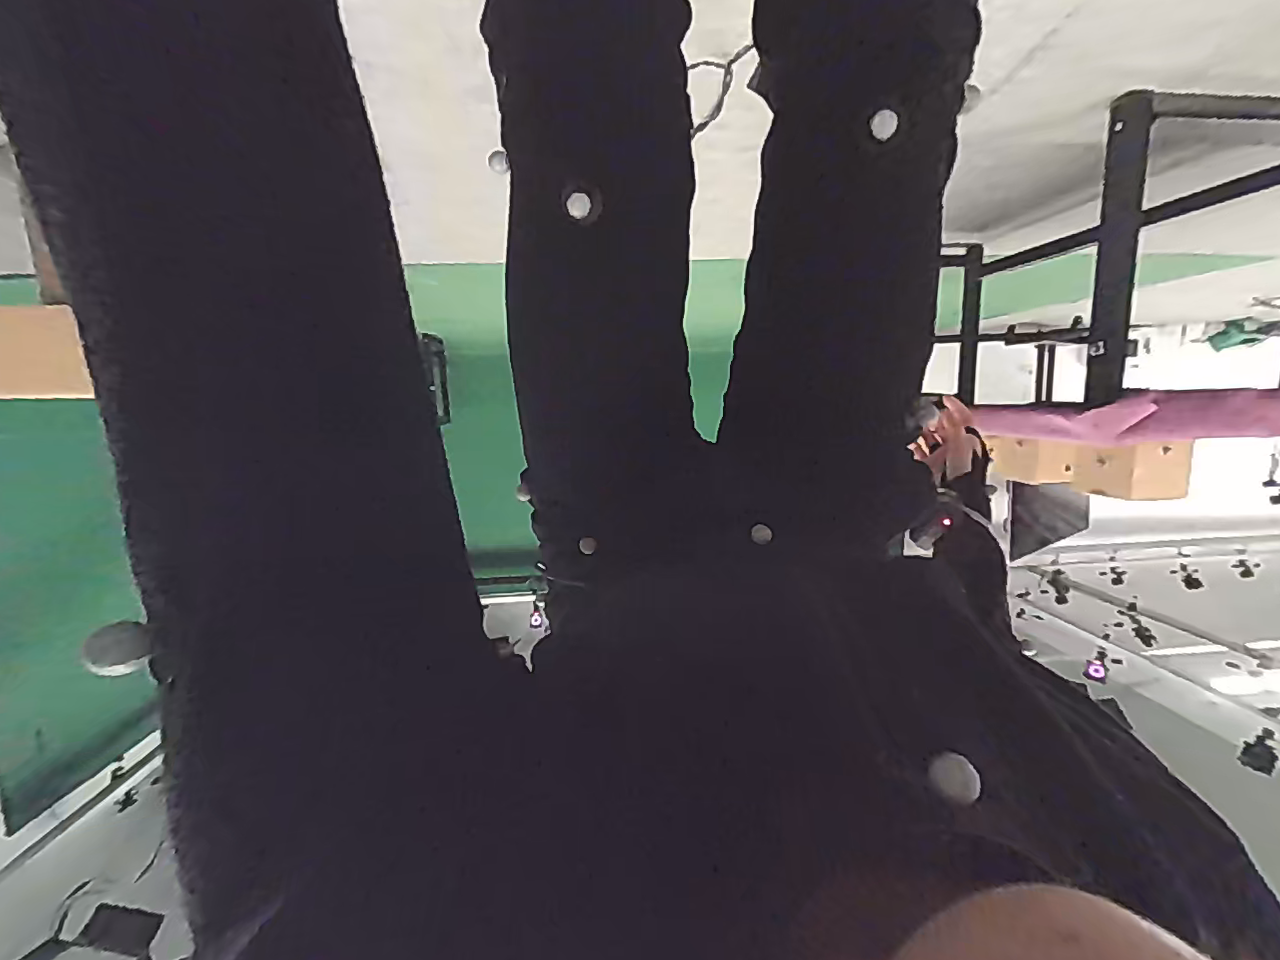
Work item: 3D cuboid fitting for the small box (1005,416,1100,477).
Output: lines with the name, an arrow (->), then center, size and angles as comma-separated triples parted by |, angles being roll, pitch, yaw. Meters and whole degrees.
small box -> 1.276, -0.109, 1.673 | 0.179, 0.176, 0.168 | -1, -171, -2

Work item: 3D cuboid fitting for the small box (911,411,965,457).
small box -> 1.201, -0.186, 2.180 | 0.168, 0.176, 0.179 | 0, -171, 15

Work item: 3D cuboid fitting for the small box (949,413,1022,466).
small box -> 1.238, -0.149, 1.927 | 0.168, 0.176, 0.179 | -3, -171, -9

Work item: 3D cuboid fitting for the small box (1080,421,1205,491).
small box -> 1.305, -0.069, 1.410 | 0.179, 0.176, 0.168 | -2, -171, -7
